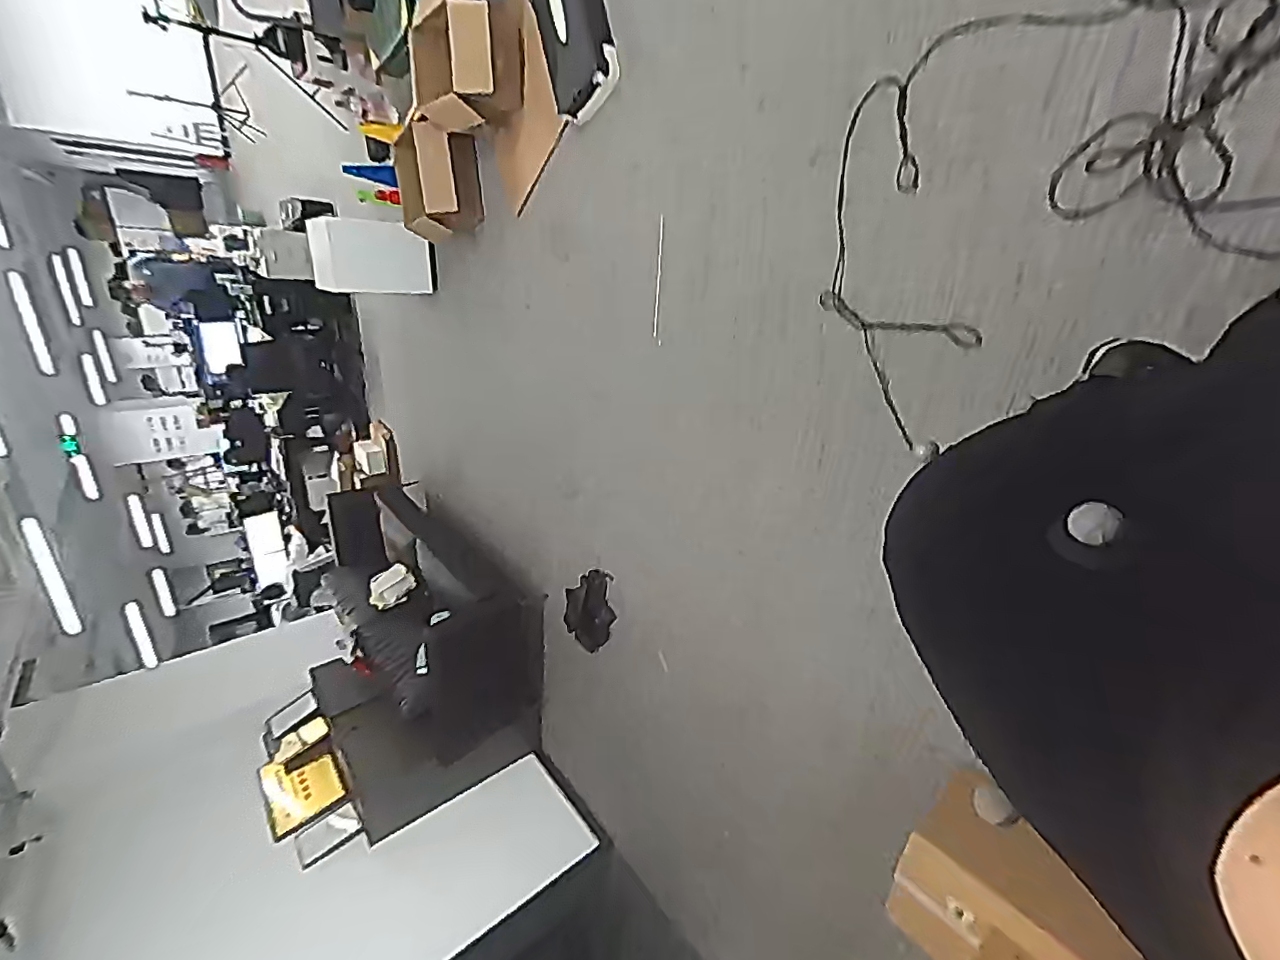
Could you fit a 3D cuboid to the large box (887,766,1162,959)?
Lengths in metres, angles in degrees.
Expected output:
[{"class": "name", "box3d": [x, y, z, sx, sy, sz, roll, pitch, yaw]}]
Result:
[{"class": "large box", "box3d": [0.872, 0.981, 1.259, 0.408, 0.320, 0.320, 28, 121, 45]}]
